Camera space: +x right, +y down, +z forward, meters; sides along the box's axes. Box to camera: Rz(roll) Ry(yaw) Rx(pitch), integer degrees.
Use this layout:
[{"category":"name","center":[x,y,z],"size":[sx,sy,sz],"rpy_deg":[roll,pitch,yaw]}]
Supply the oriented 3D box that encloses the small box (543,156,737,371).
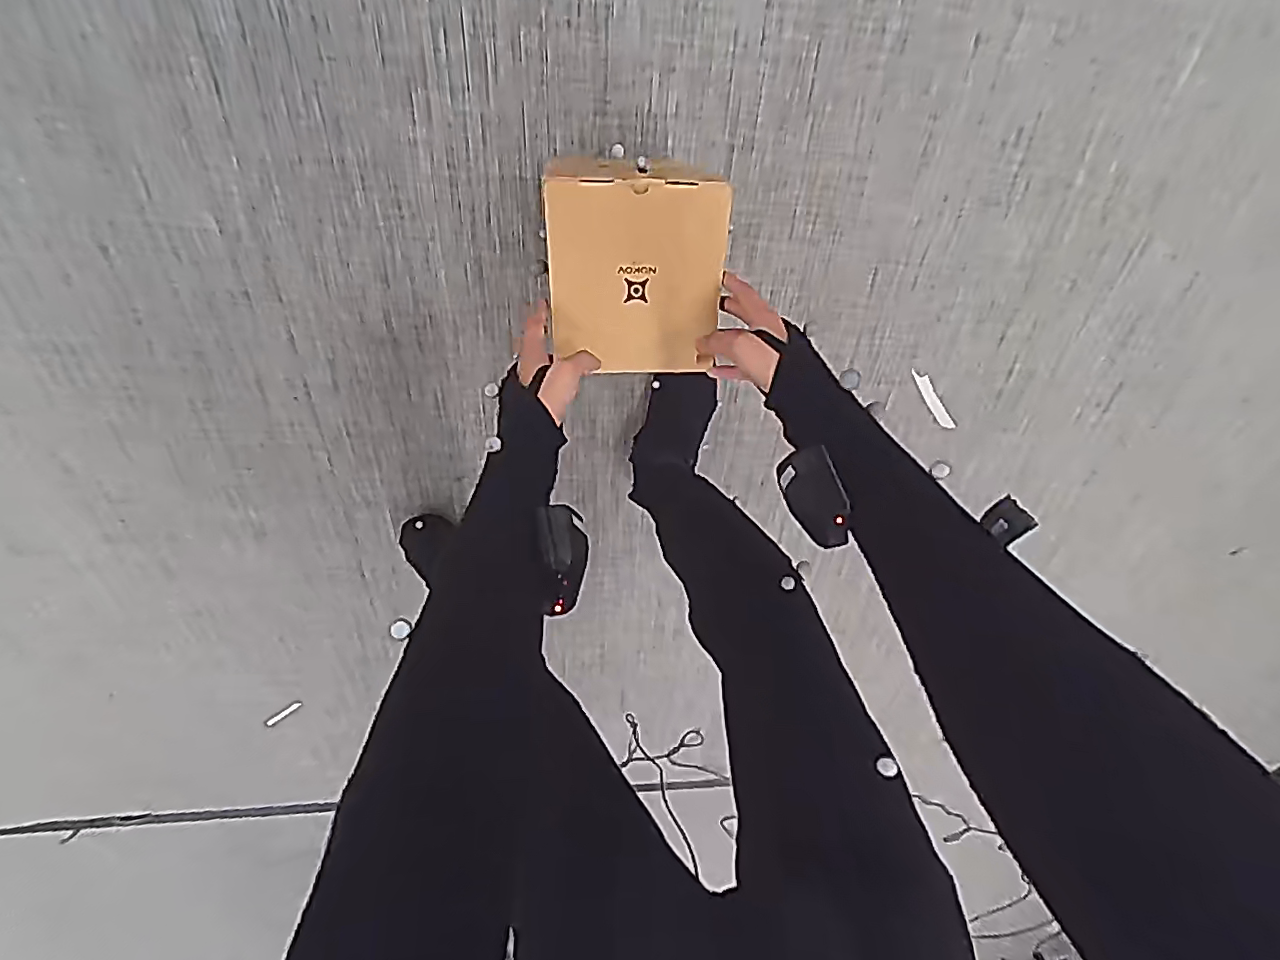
[{"category":"small box","center":[-0.010,-0.227,0.560],"size":[0.168,0.176,0.179],"rpy_deg":[-2,123,-7]}]
